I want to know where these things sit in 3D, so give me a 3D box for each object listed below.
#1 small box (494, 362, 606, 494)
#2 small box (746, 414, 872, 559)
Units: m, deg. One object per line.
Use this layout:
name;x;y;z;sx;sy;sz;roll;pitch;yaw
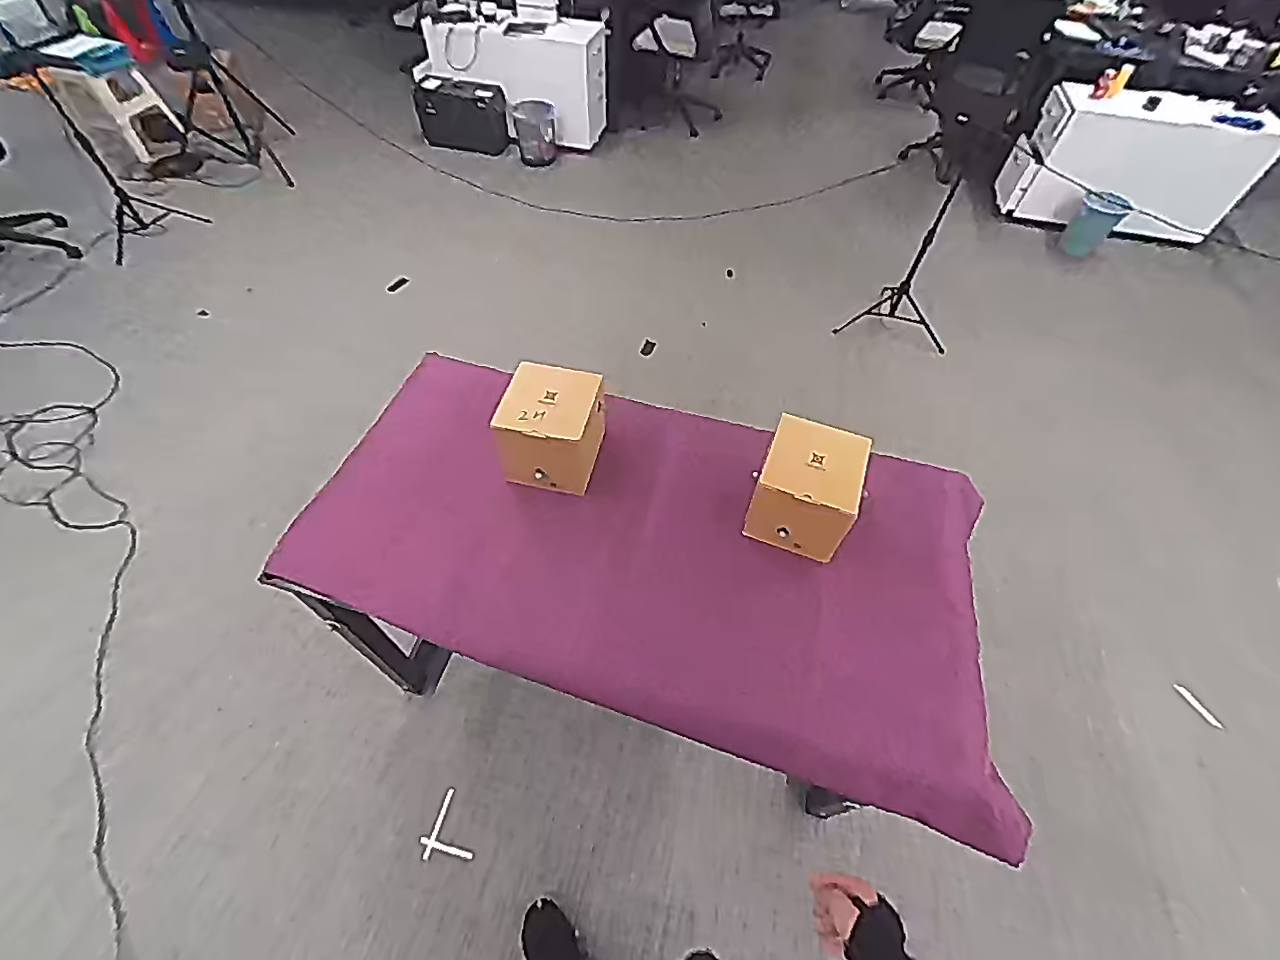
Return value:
small box;-0.166;-0.100;1.059;0.168;0.176;0.179;11;54;6
small box;0.304;0.014;0.995;0.168;0.176;0.179;18;56;12
